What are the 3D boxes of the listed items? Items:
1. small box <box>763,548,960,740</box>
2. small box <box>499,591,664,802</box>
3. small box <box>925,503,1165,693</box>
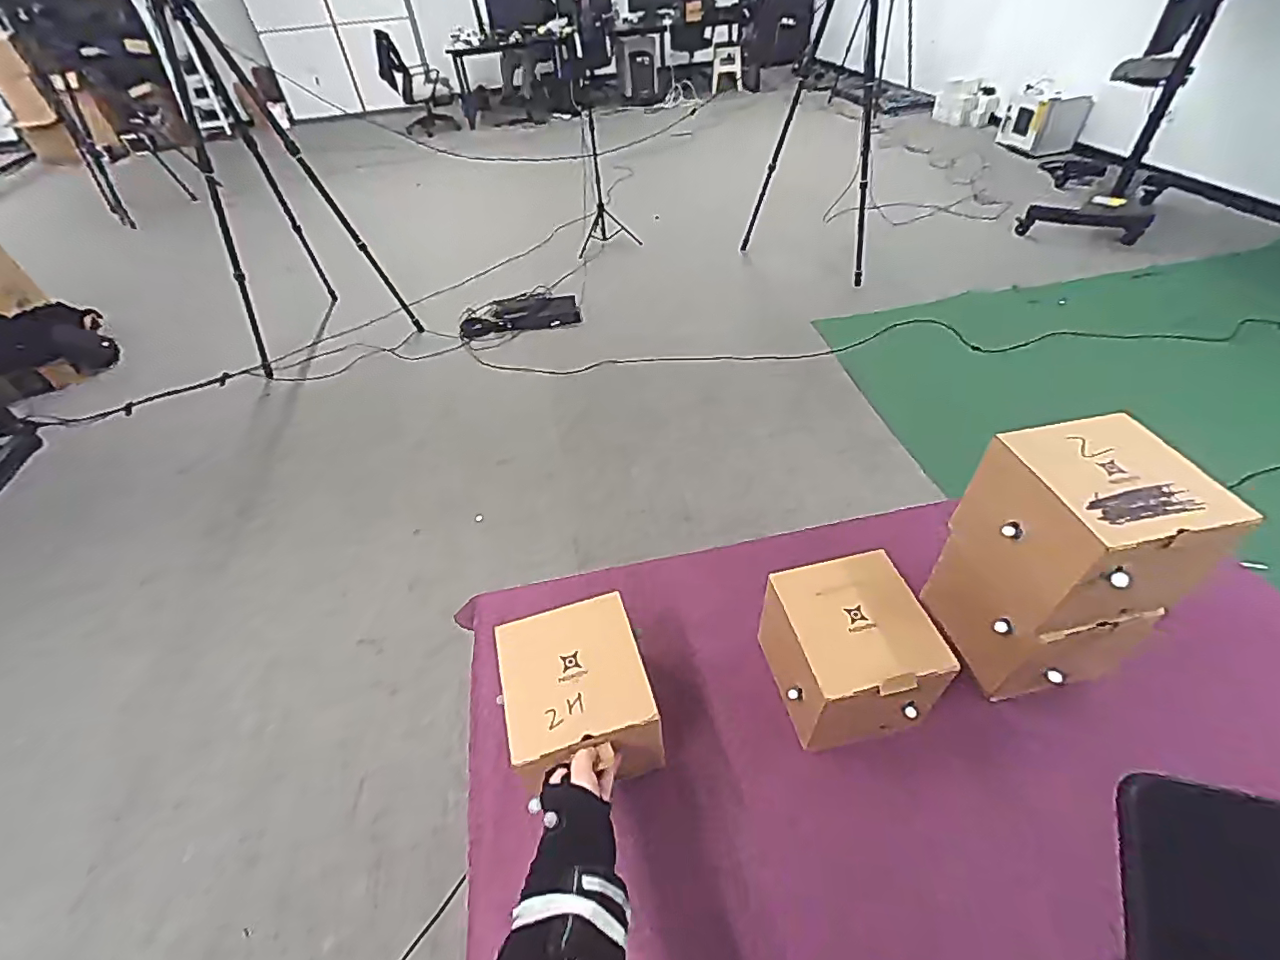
[{"bbox_3d":[0.274,0.223,0.717,0.168,0.176,0.179,-12,45,-6],"label":"small box"},{"bbox_3d":[-0.074,0.278,0.699,0.168,0.176,0.179,-15,46,-8],"label":"small box"},{"bbox_3d":[0.531,0.162,0.745,0.168,0.176,0.179,-12,46,-5],"label":"small box"}]
